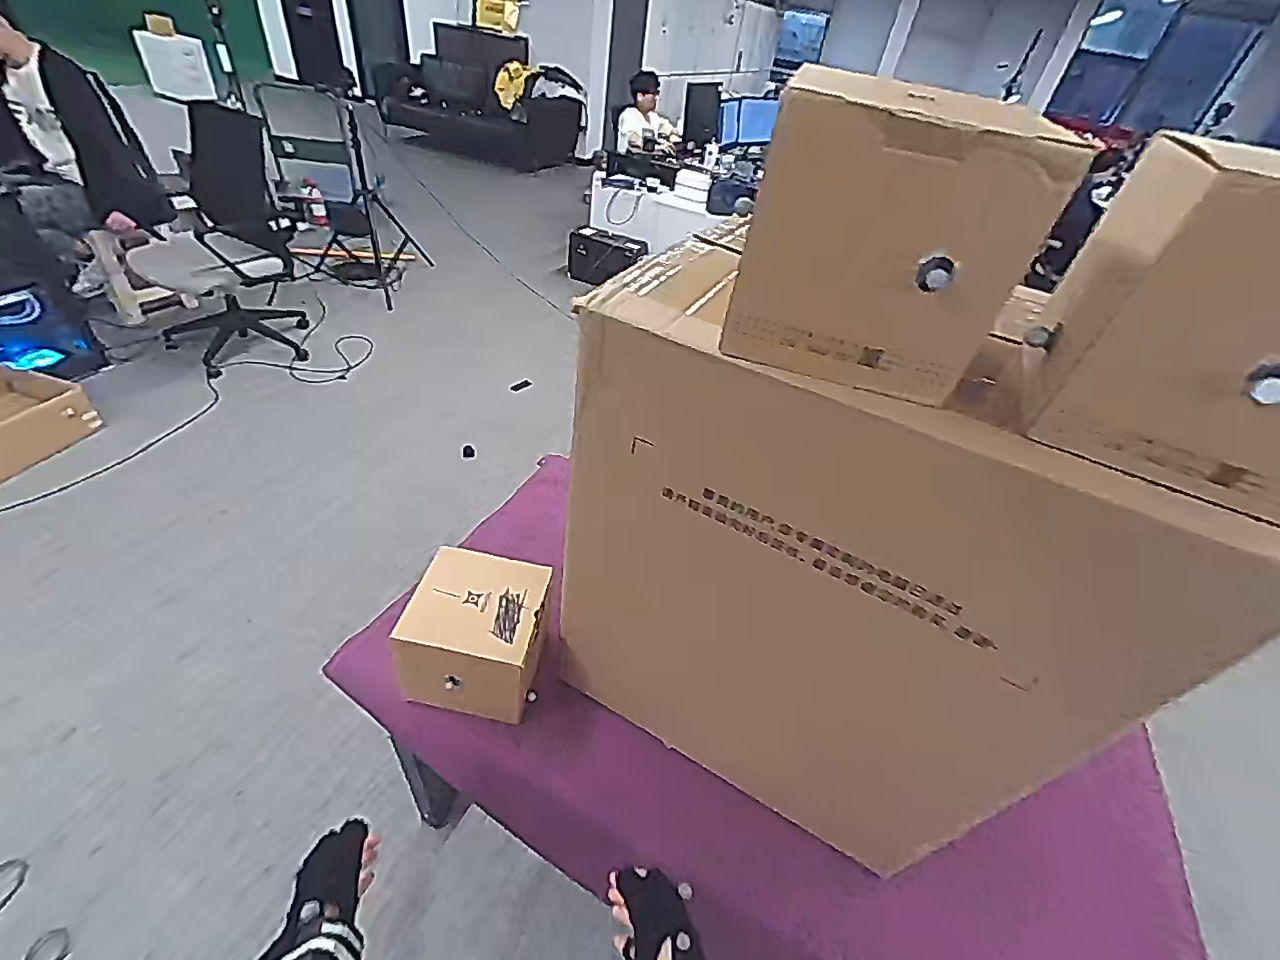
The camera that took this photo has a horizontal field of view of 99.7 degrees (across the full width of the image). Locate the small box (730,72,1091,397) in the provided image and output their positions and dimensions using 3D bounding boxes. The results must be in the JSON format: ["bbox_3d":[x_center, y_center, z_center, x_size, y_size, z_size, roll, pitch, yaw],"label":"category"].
[{"bbox_3d":[0.173,-0.186,0.408,0.168,0.176,0.179,17,41,6],"label":"small box"}]

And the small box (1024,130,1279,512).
[{"bbox_3d":[0.385,-0.107,0.353,0.168,0.176,0.179,25,44,17],"label":"small box"}]
